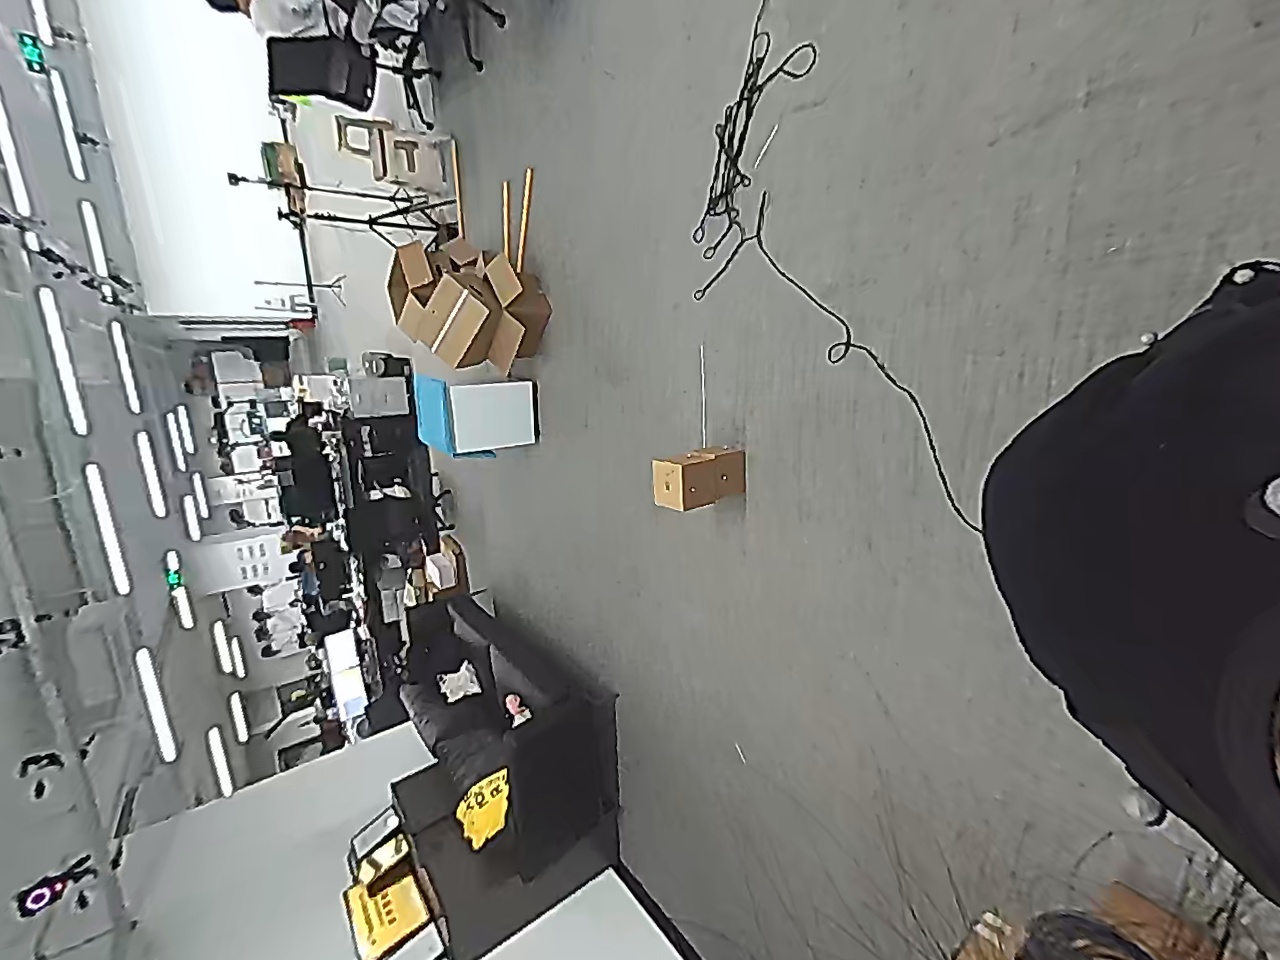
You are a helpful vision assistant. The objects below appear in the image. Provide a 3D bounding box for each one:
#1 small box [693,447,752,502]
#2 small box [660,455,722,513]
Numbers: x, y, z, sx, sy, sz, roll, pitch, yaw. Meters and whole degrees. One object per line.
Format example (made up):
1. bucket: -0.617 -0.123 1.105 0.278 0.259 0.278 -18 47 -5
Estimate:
1. small box: 0.326 -0.026 2.119 0.168 0.176 0.179 13 109 53
2. small box: 0.193 0.011 2.028 0.168 0.176 0.179 13 110 52
